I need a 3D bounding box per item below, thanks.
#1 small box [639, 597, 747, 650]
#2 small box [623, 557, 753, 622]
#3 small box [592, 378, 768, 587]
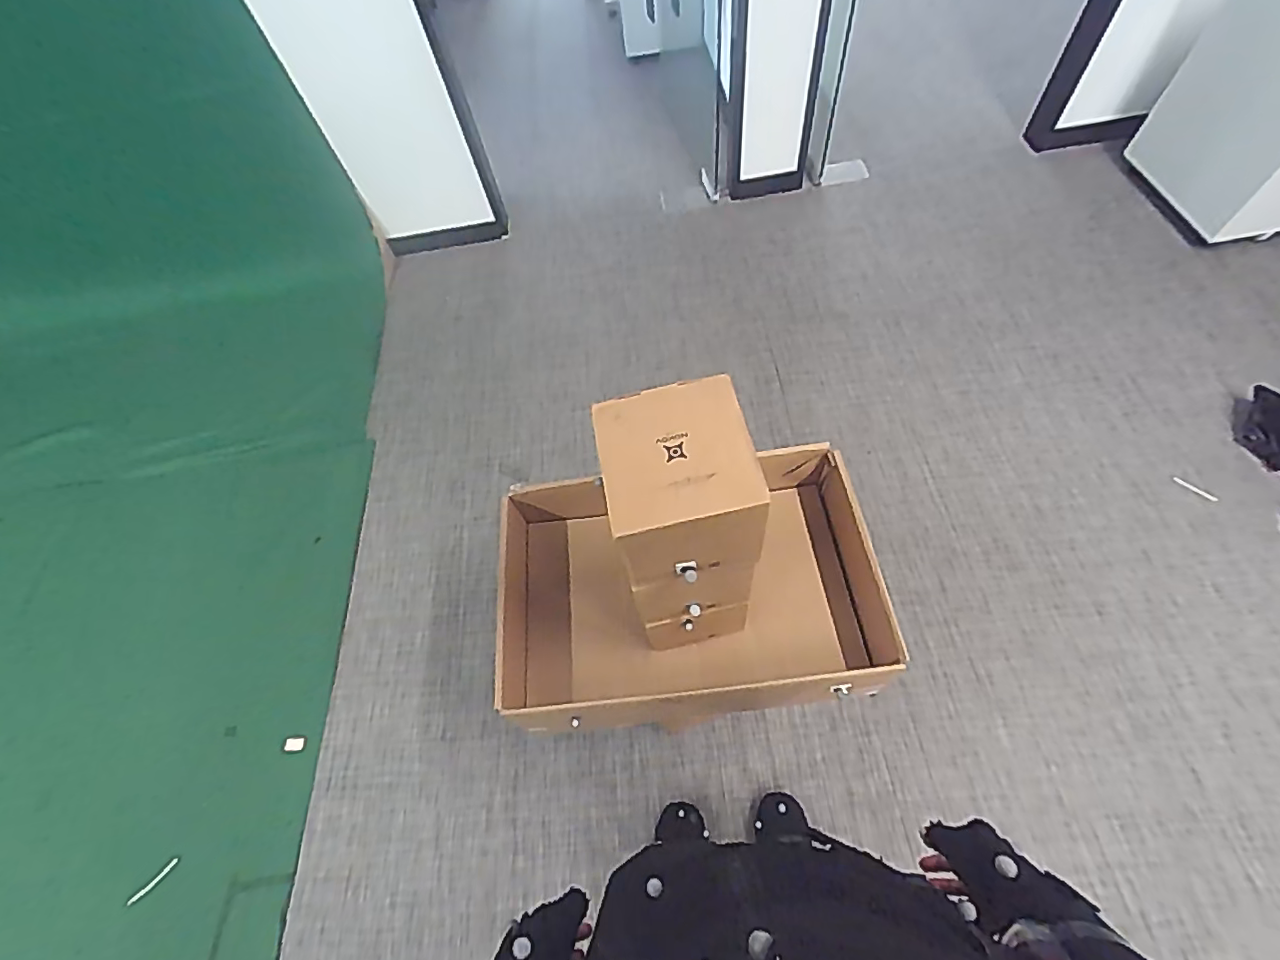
[{"bbox_3d":[0.078,0.174,0.935,0.168,0.176,0.179,-14,58,1],"label":"small box"},{"bbox_3d":[0.059,0.089,0.796,0.168,0.176,0.179,-13,60,1],"label":"small box"},{"bbox_3d":[0.046,0.009,0.656,0.168,0.176,0.179,-13,60,2],"label":"small box"}]
